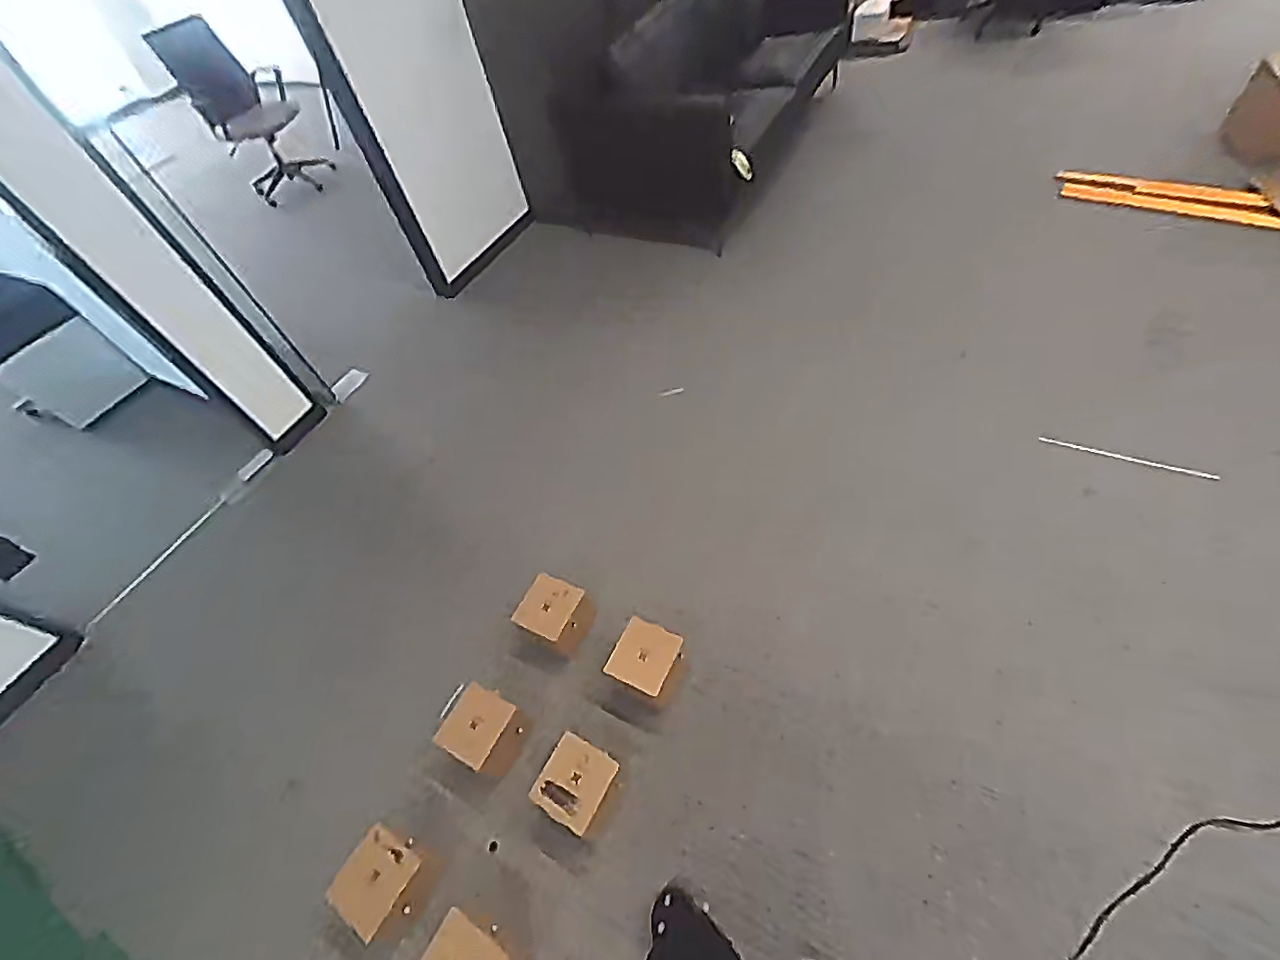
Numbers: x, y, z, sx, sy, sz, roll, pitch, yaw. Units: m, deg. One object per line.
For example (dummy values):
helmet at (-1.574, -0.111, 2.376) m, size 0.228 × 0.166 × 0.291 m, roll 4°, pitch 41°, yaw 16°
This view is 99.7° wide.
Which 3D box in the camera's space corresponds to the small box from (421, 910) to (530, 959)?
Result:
small box at (-0.368, 1.075, 1.176) m, size 0.179 × 0.176 × 0.168 m, roll 20°, pitch 59°, yaw 25°

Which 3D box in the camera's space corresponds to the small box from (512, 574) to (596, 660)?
small box at (-0.253, 0.423, 1.652) m, size 0.168 × 0.176 × 0.179 m, roll 19°, pitch 58°, yaw 23°

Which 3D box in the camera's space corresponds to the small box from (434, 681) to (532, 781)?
small box at (-0.418, 0.691, 1.482) m, size 0.168 × 0.176 × 0.179 m, roll 19°, pitch 59°, yaw 24°

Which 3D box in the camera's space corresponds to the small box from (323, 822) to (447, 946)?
small box at (-0.604, 0.968, 1.305) m, size 0.168 × 0.176 × 0.179 m, roll 22°, pitch 61°, yaw 25°

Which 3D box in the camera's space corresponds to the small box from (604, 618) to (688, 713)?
small box at (0.026, 0.527, 1.521) m, size 0.168 × 0.176 × 0.179 m, roll 18°, pitch 58°, yaw 23°
